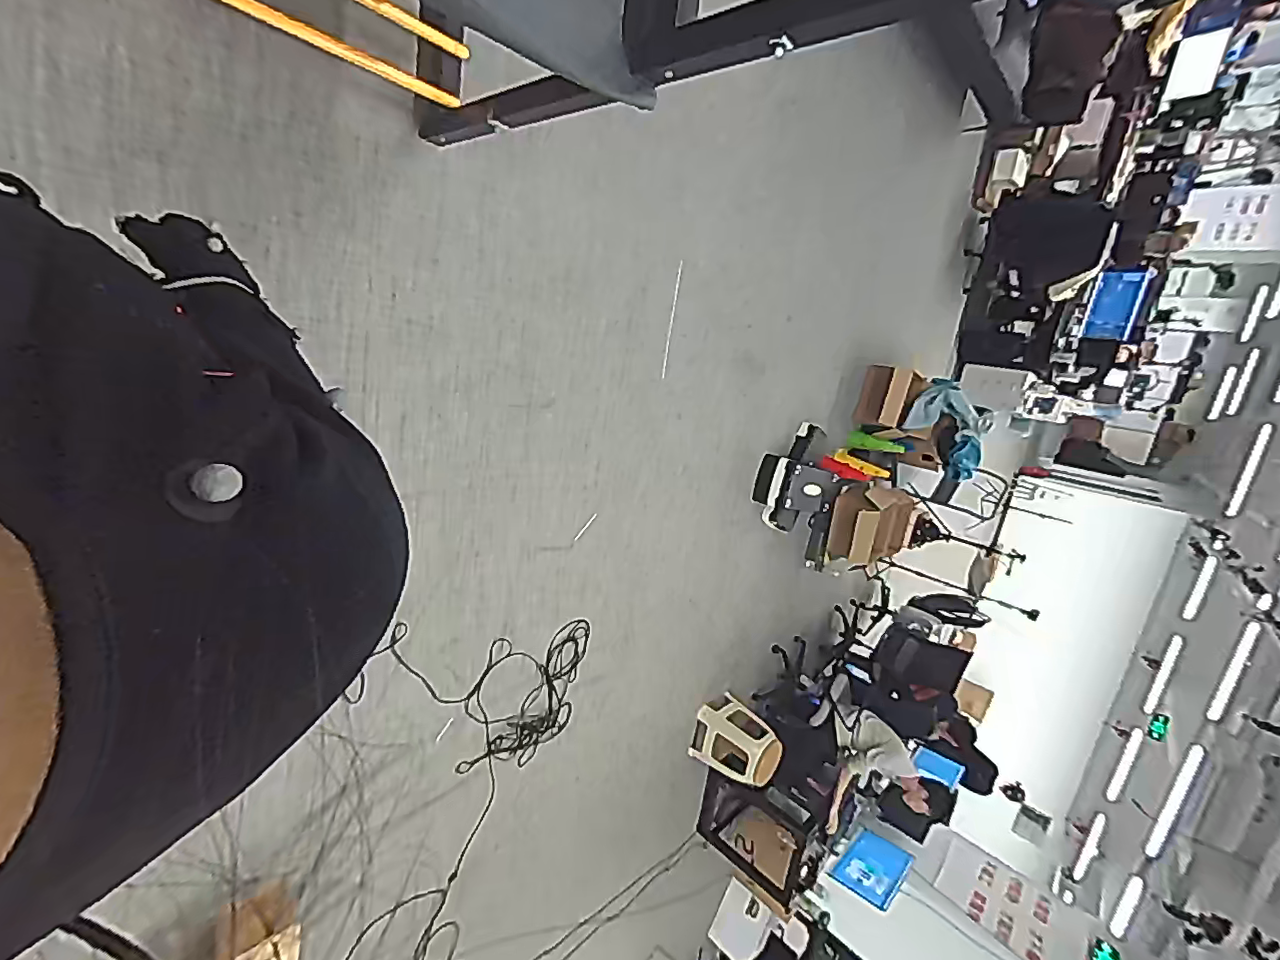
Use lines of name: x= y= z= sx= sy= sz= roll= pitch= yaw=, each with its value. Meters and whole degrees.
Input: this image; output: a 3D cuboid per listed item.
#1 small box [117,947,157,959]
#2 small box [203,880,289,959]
small box: x=-1.287 y=1.308 z=1.323 sx=0.168 sy=0.176 sz=0.179 roll=-5 pitch=110 yaw=-48
small box: x=-1.109 y=1.290 z=1.520 sx=0.168 sy=0.176 sz=0.179 roll=-4 pitch=108 yaw=-48
